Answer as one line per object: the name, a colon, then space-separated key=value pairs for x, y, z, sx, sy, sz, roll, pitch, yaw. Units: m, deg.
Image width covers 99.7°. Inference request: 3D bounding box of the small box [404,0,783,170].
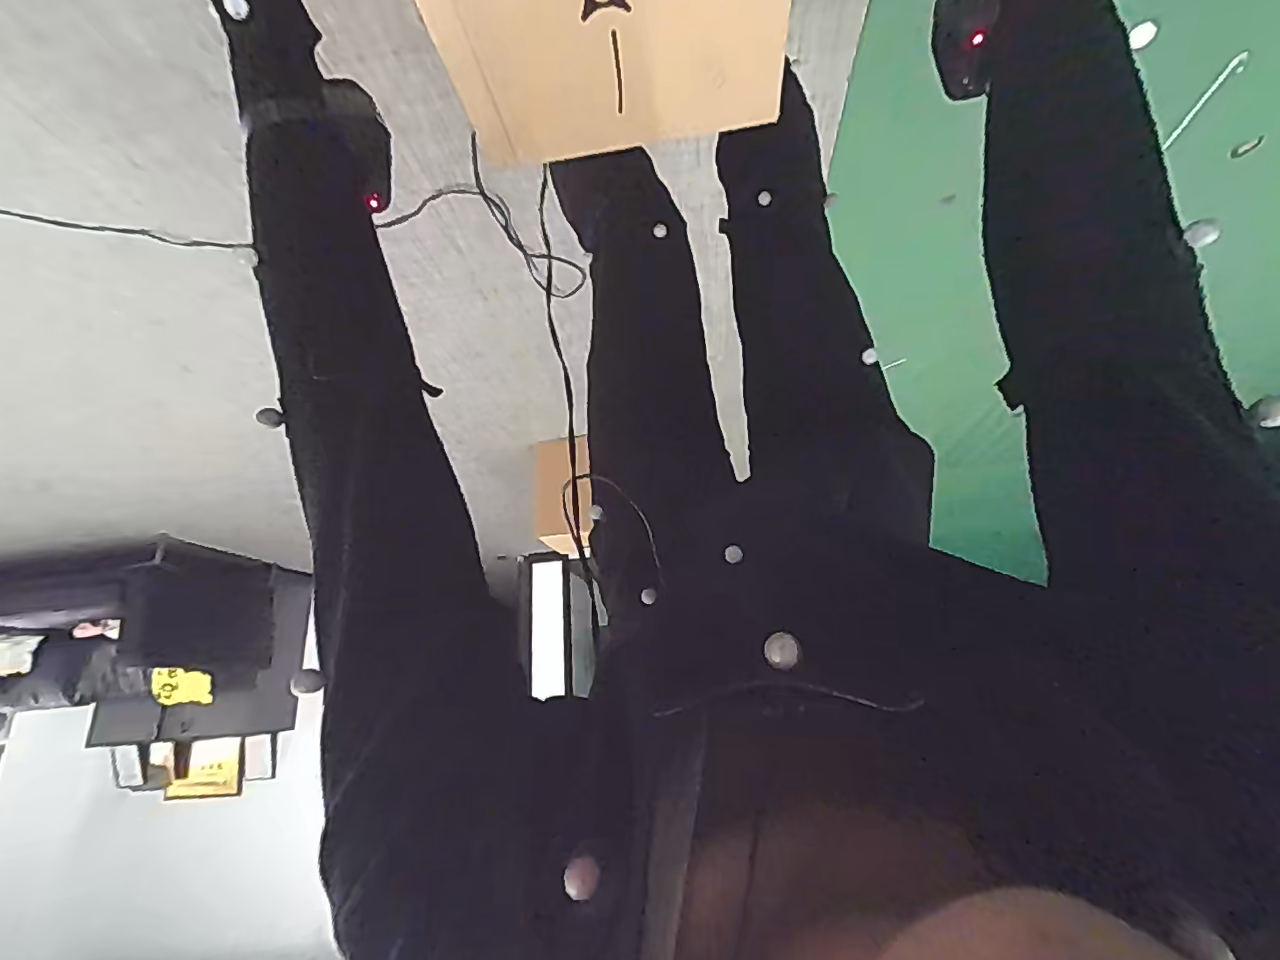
small box: x=-0.026 y=-0.289 z=0.247 sx=0.168 sy=0.176 sz=0.179 roll=-6 pitch=161 yaw=7
